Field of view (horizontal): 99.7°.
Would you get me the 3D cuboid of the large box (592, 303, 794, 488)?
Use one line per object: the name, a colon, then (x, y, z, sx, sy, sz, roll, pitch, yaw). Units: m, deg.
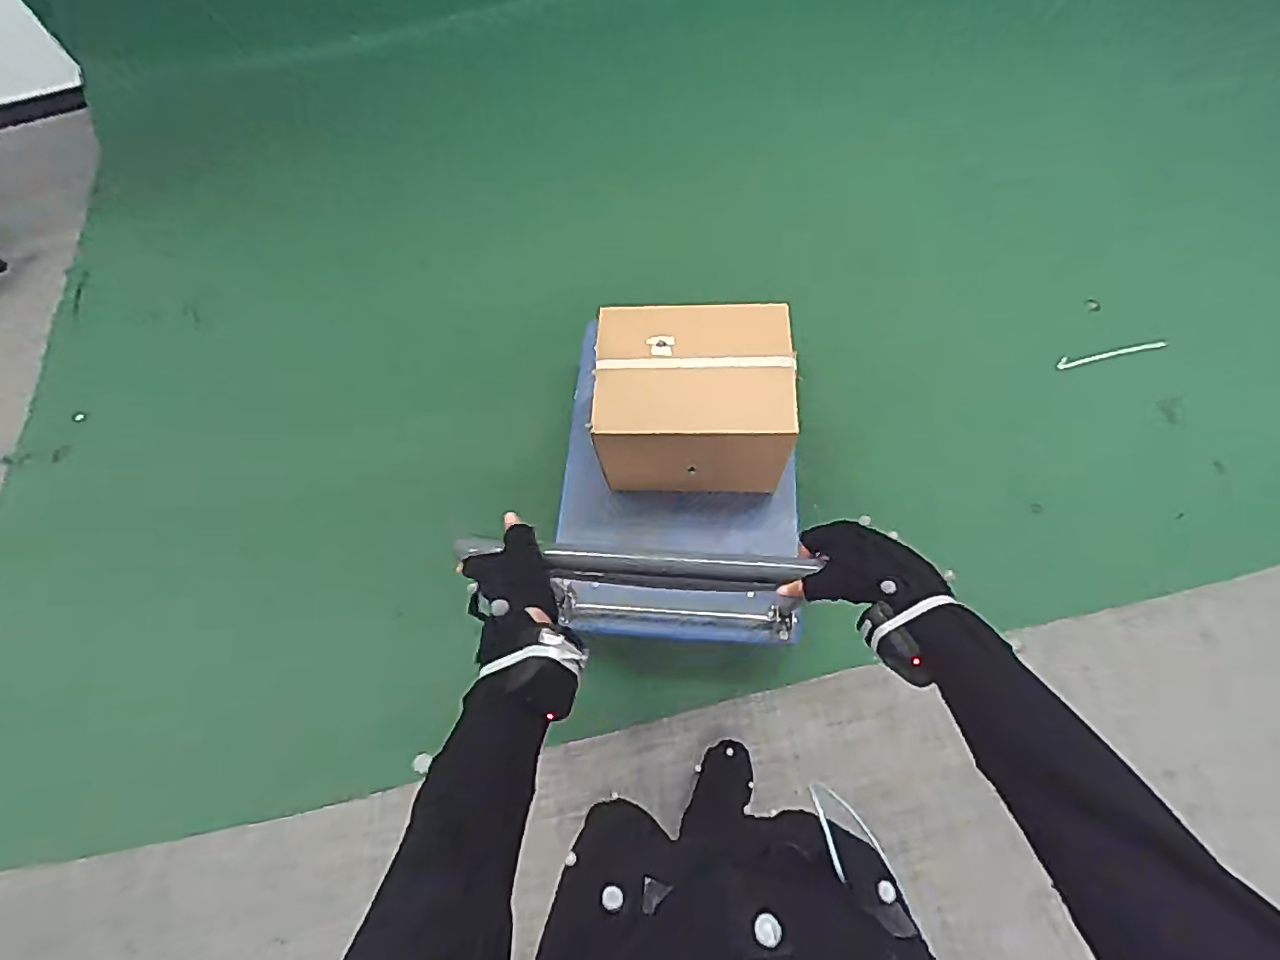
large box: (0.118, -0.178, 1.256, 0.408, 0.320, 0.320, -1, 67, 5)
